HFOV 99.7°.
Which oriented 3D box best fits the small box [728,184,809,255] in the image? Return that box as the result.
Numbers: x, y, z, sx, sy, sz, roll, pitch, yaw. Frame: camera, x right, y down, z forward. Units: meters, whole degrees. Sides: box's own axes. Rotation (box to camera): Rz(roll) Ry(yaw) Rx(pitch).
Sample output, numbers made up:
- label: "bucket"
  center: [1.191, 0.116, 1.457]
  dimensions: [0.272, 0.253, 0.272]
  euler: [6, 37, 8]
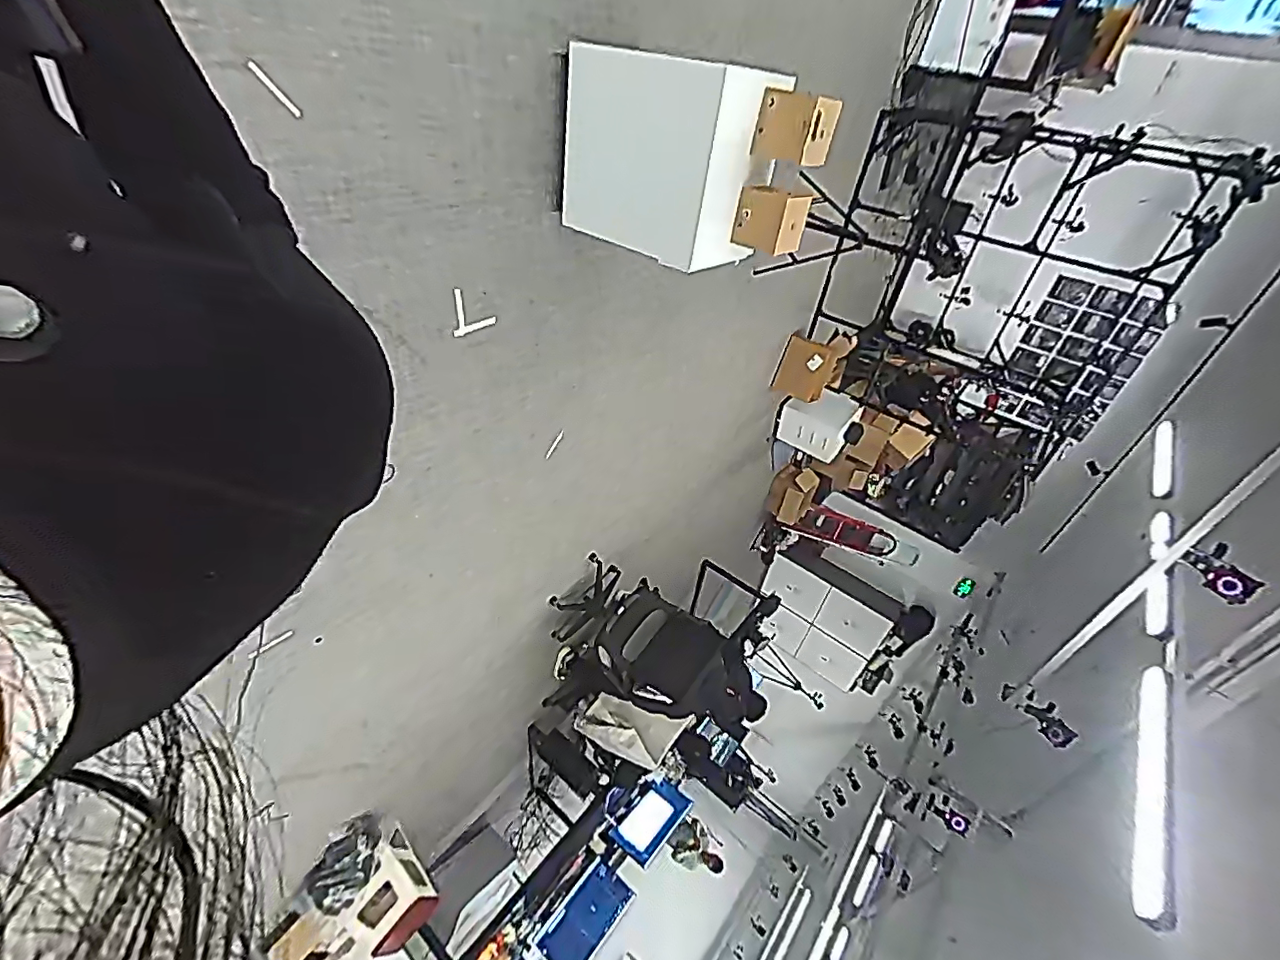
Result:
- label: "small box"
  center: [0.407, -0.836, 1.726]
  dimensions: [0.179, 0.176, 0.168]
  euler: [-32, 142, -41]

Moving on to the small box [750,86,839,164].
- label: "small box"
  center: [0.445, -1.033, 1.576]
  dimensions: [0.179, 0.176, 0.168]
  euler: [-33, 144, -43]
